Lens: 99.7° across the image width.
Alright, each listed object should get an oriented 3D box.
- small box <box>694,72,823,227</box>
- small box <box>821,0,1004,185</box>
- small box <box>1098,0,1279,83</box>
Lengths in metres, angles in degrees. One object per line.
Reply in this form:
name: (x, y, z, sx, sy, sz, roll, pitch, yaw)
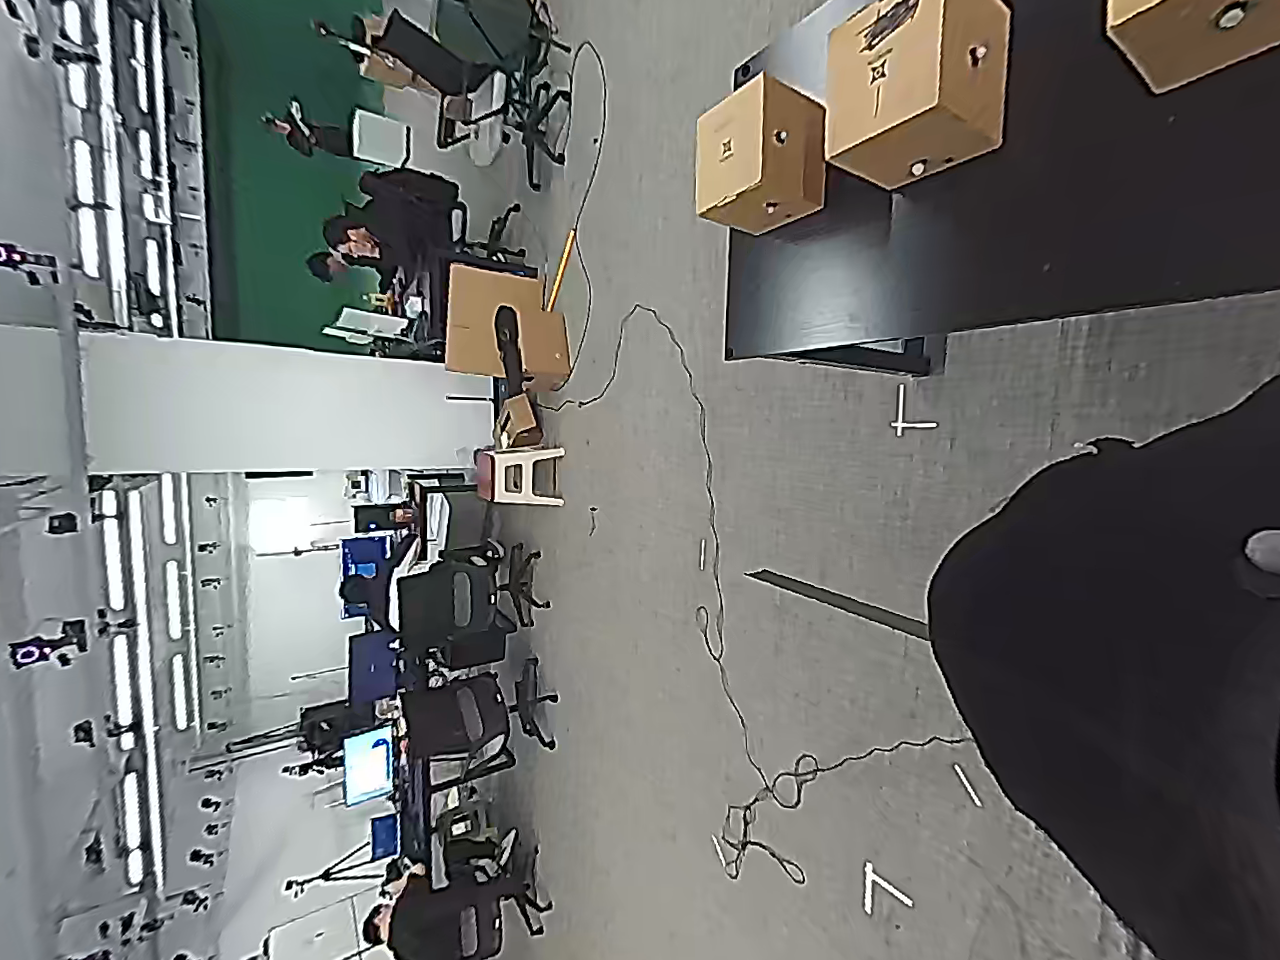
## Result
small box: (0.216, -0.580, 0.984, 0.168, 0.176, 0.179, 6, 96, 54)
small box: (0.376, -0.545, 0.748, 0.168, 0.176, 0.179, 8, 99, 56)
small box: (0.553, -0.510, 0.486, 0.179, 0.176, 0.168, 2, 94, 57)
